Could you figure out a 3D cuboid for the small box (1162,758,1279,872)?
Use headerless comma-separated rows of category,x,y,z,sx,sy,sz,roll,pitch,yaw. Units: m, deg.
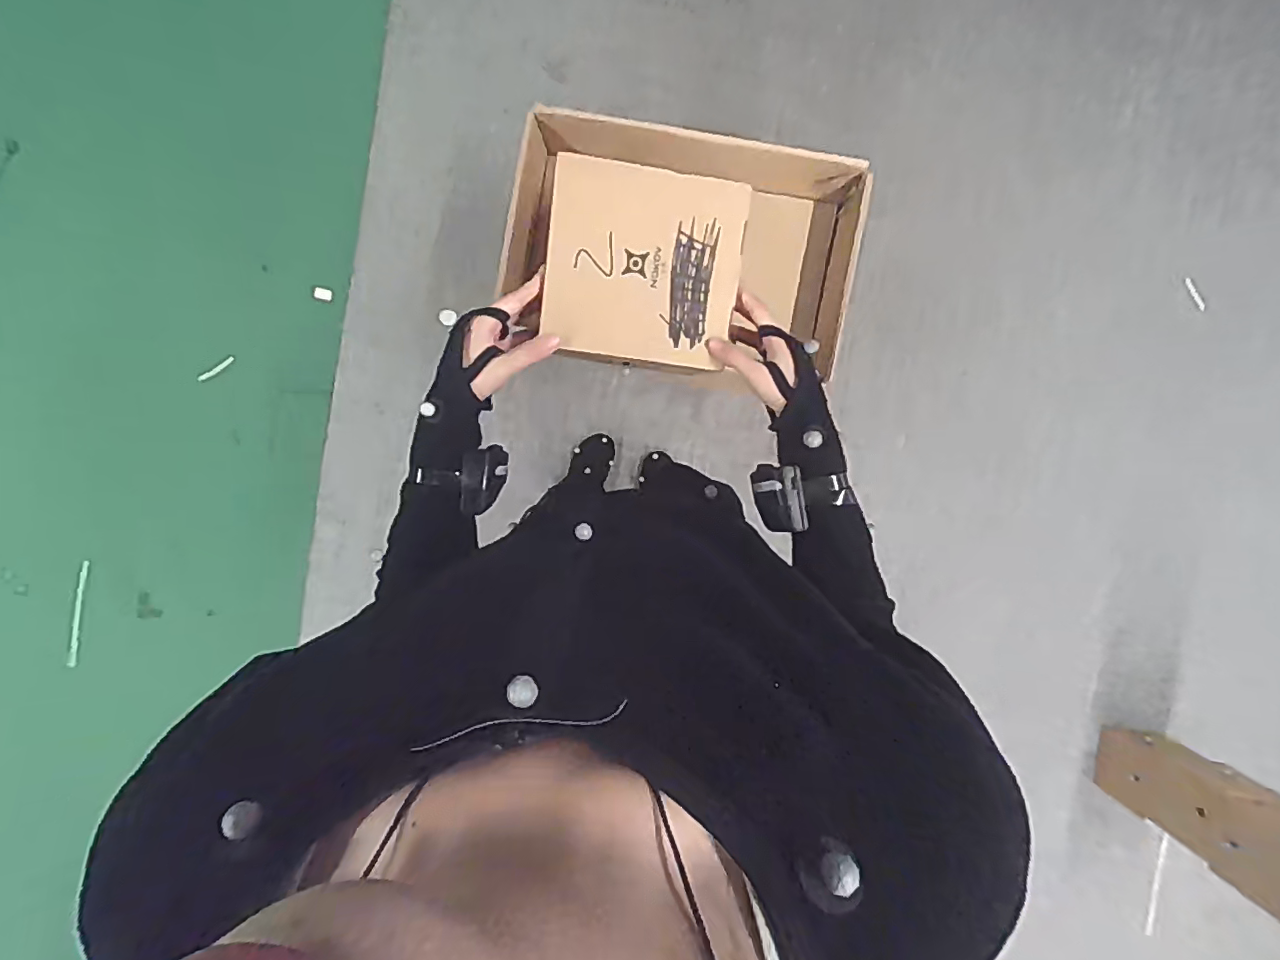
small box,1.364,0.772,1.242,0.168,0.176,0.179,8,92,3

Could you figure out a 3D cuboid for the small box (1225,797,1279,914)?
small box,1.342,0.778,1.079,0.168,0.176,0.179,6,92,2

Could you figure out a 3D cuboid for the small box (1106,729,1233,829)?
small box,1.369,0.778,1.406,0.168,0.176,0.179,8,92,2

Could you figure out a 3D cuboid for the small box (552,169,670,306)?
small box,-0.048,-0.433,0.995,0.179,0.176,0.168,12,92,2
